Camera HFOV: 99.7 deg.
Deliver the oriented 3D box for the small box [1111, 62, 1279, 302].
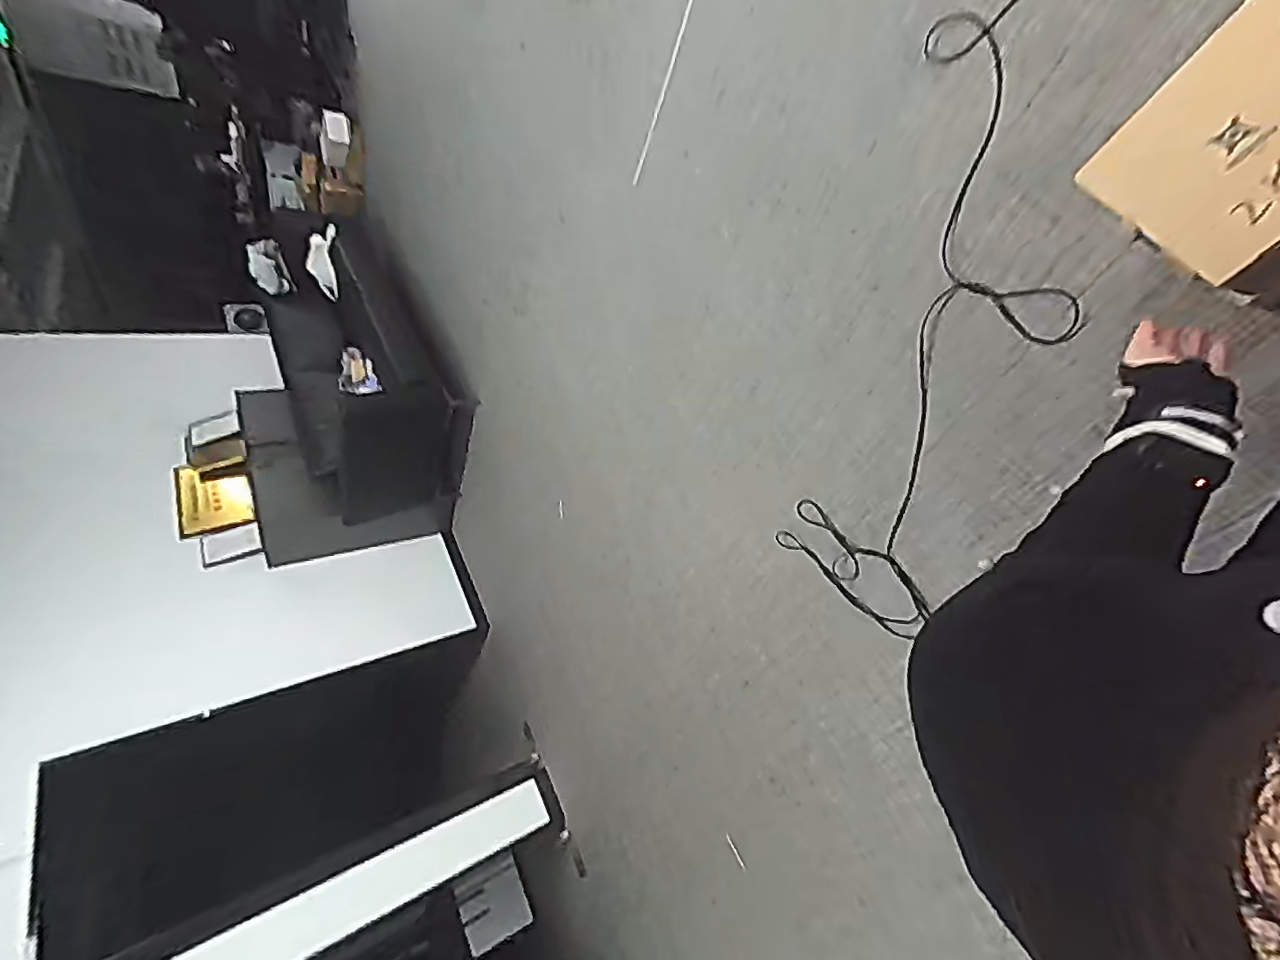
[{"bbox_3d":[0.712,-0.323,0.619,0.168,0.176,0.179,58,139,26],"label":"small box"}]
